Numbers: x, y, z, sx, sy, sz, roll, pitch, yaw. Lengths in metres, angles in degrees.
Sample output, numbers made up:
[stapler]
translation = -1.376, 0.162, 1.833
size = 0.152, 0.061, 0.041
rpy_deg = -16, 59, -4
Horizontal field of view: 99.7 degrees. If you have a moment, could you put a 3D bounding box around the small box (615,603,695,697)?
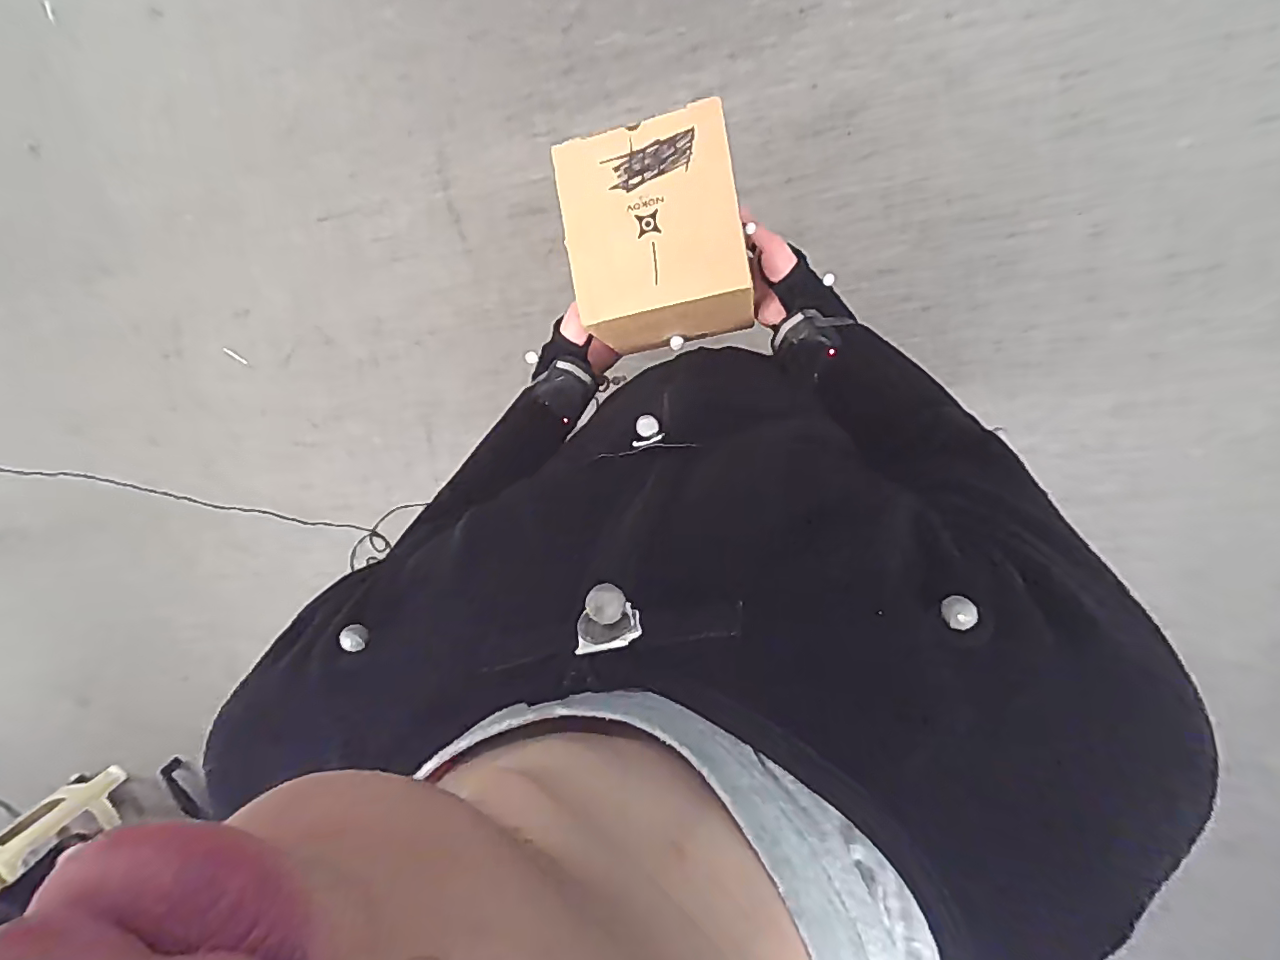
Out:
[small box]
translation = 0.053, 0.505, 1.634
size = 0.168, 0.176, 0.179
rpy_deg = 36, 109, 2
